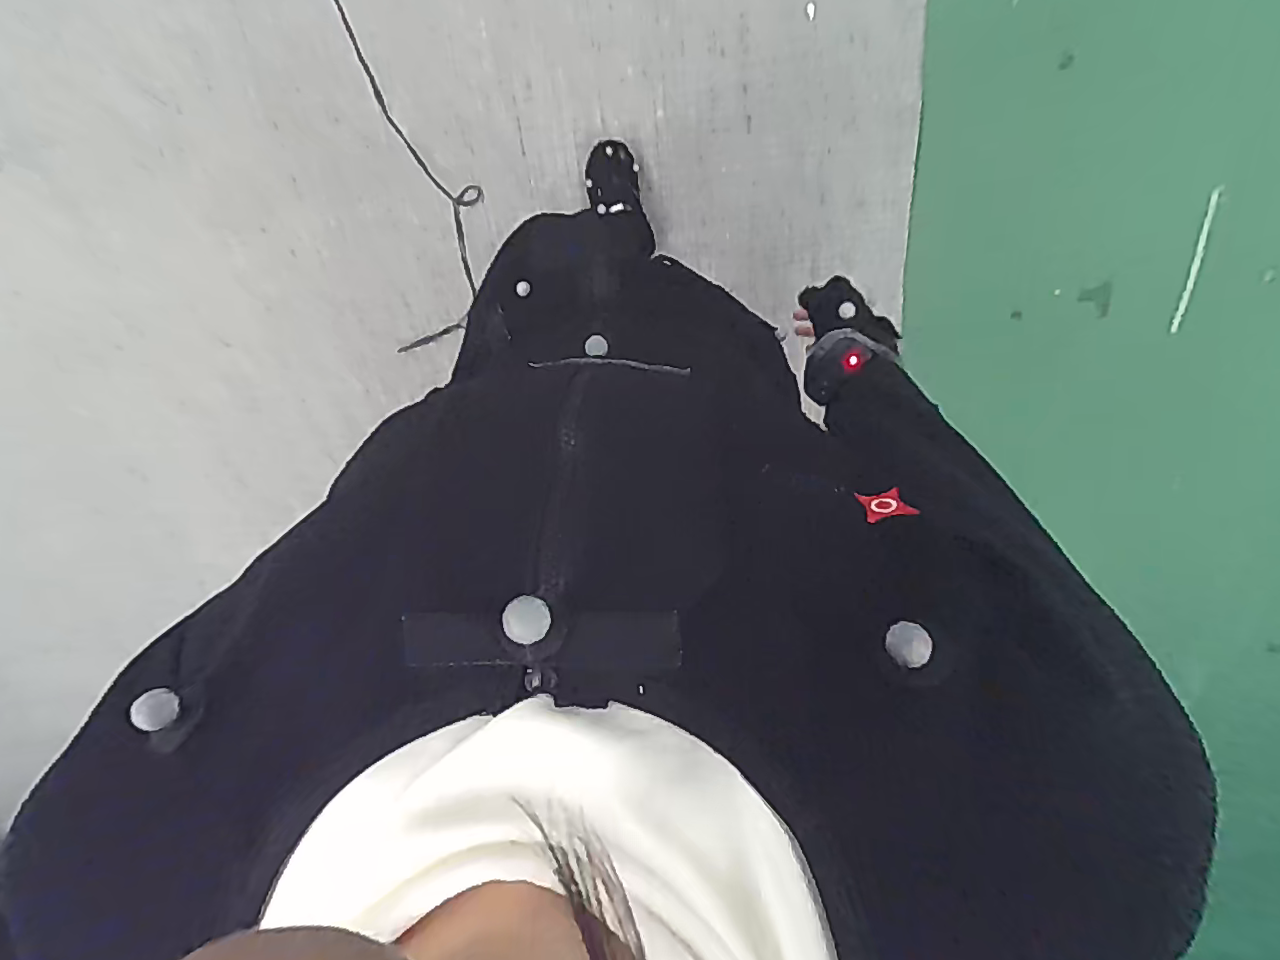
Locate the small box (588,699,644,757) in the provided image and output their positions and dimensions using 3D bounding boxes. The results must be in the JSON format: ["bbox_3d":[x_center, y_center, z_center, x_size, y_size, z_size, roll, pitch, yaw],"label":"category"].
[{"bbox_3d":[-0.076,0.856,1.813,0.179,0.176,0.168,-2,116,0],"label":"small box"}]
